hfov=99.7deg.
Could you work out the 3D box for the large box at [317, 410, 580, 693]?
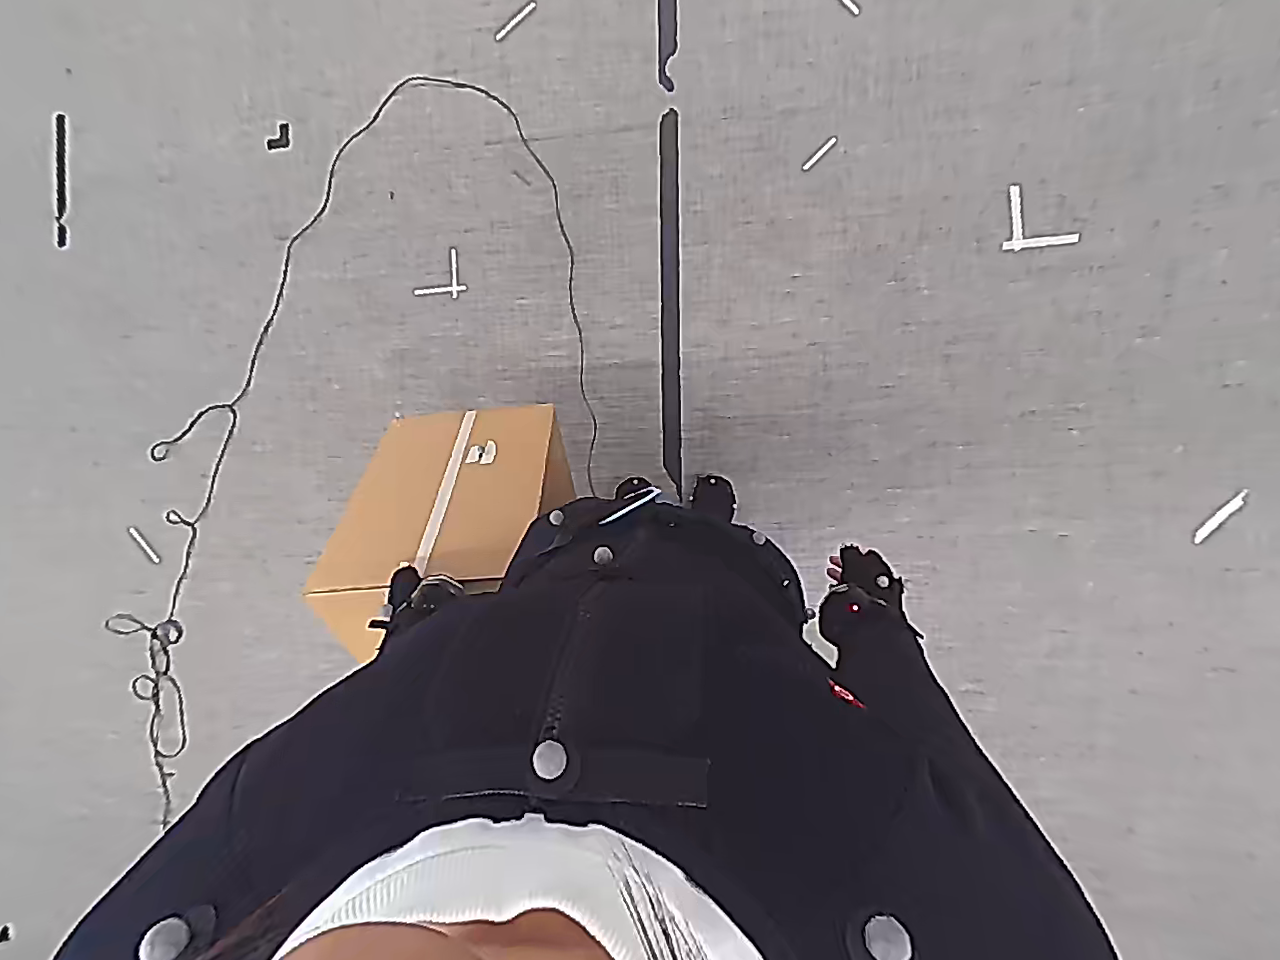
[{"bbox_3d":[-0.295,0.122,0.991,0.320,0.408,0.320,-4,132,3],"label":"large box"}]
